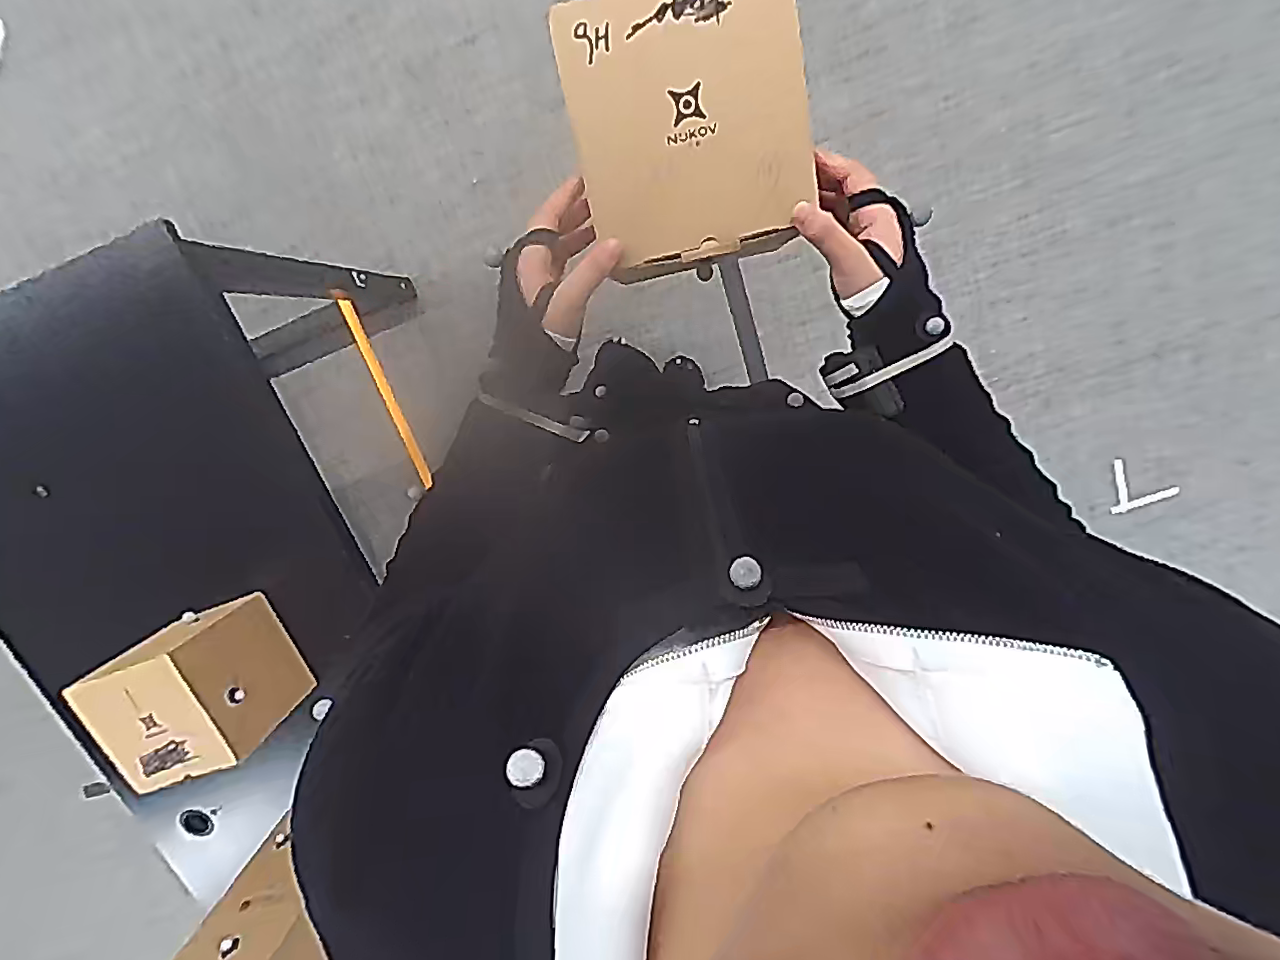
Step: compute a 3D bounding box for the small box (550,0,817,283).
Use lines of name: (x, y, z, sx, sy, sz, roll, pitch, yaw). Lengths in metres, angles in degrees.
small box: (0.040, -0.275, 0.459, 0.168, 0.176, 0.179, -11, 107, 7)

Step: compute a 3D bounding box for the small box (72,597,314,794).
small box: (-0.618, 0.300, 0.776, 0.168, 0.176, 0.179, -20, 104, 7)

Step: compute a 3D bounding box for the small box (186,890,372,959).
small box: (-0.495, 0.679, 0.710, 0.168, 0.176, 0.179, -16, 106, 7)
